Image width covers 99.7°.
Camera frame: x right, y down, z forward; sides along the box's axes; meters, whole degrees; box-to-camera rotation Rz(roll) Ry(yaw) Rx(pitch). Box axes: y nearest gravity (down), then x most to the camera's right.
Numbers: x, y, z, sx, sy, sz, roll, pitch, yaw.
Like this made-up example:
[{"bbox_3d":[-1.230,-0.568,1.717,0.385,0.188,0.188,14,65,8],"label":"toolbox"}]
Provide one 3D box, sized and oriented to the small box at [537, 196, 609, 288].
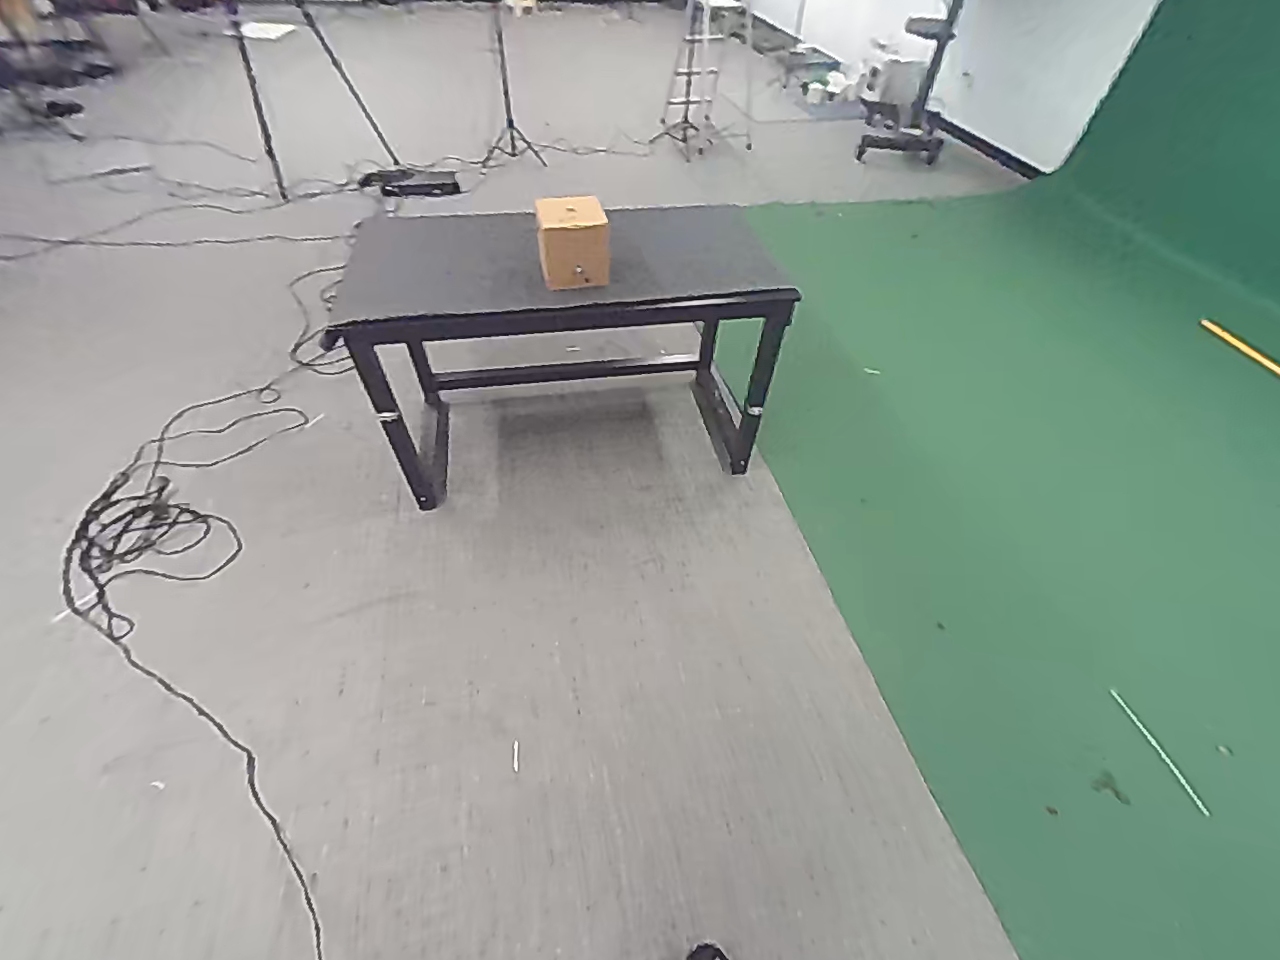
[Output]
[{"bbox_3d":[-0.178,-0.634,1.440,0.168,0.176,0.179,-9,49,-10],"label":"small box"}]
